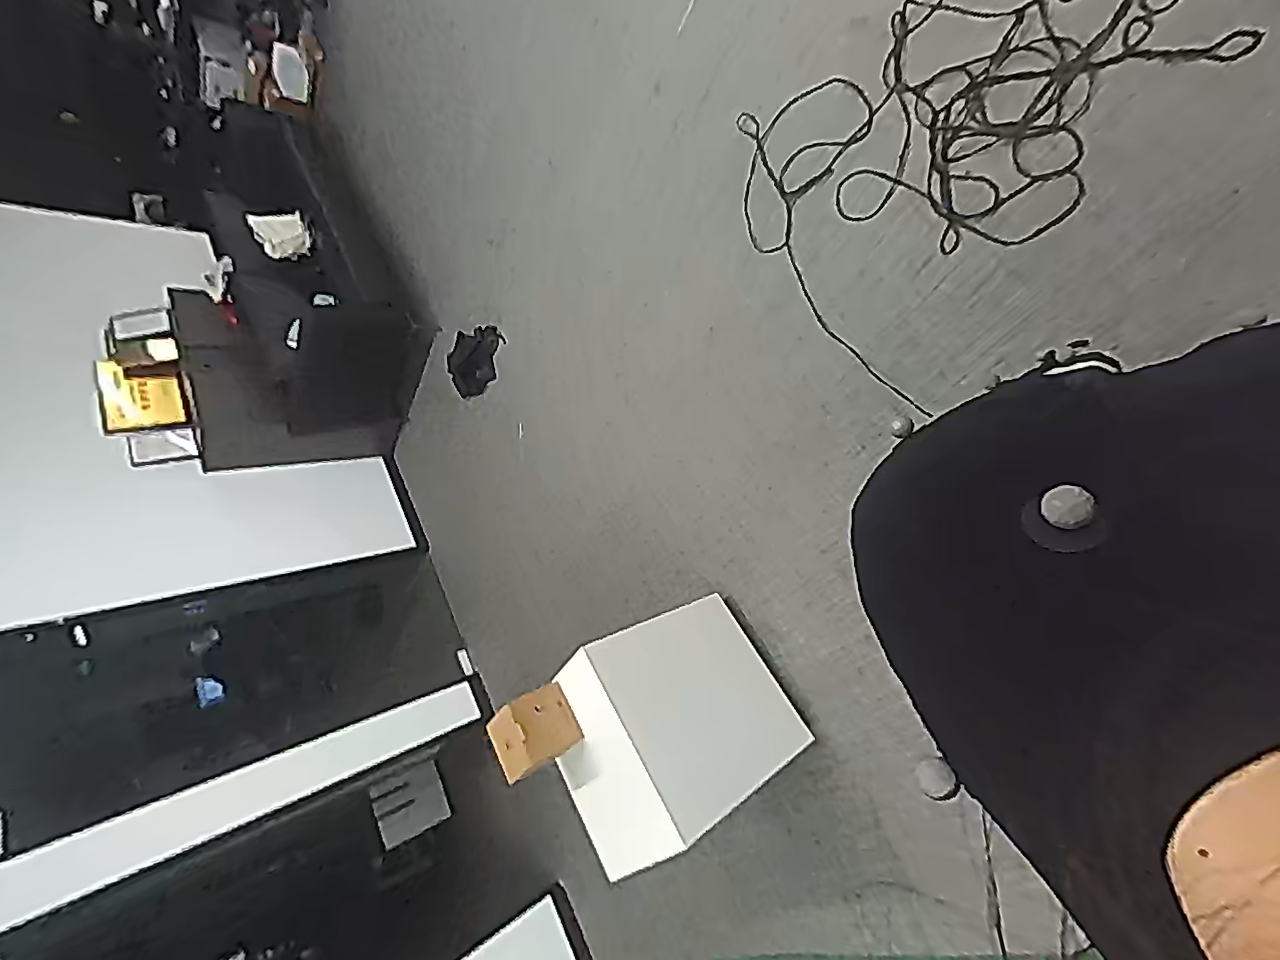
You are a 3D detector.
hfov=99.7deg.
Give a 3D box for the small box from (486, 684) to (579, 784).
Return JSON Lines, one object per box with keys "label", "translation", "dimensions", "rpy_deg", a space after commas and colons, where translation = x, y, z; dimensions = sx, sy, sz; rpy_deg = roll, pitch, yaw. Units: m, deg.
{"label": "small box", "translation": [-0.288, 0.683, 1.468], "dimensions": [0.168, 0.176, 0.179], "rpy_deg": [57, 133, 25]}
